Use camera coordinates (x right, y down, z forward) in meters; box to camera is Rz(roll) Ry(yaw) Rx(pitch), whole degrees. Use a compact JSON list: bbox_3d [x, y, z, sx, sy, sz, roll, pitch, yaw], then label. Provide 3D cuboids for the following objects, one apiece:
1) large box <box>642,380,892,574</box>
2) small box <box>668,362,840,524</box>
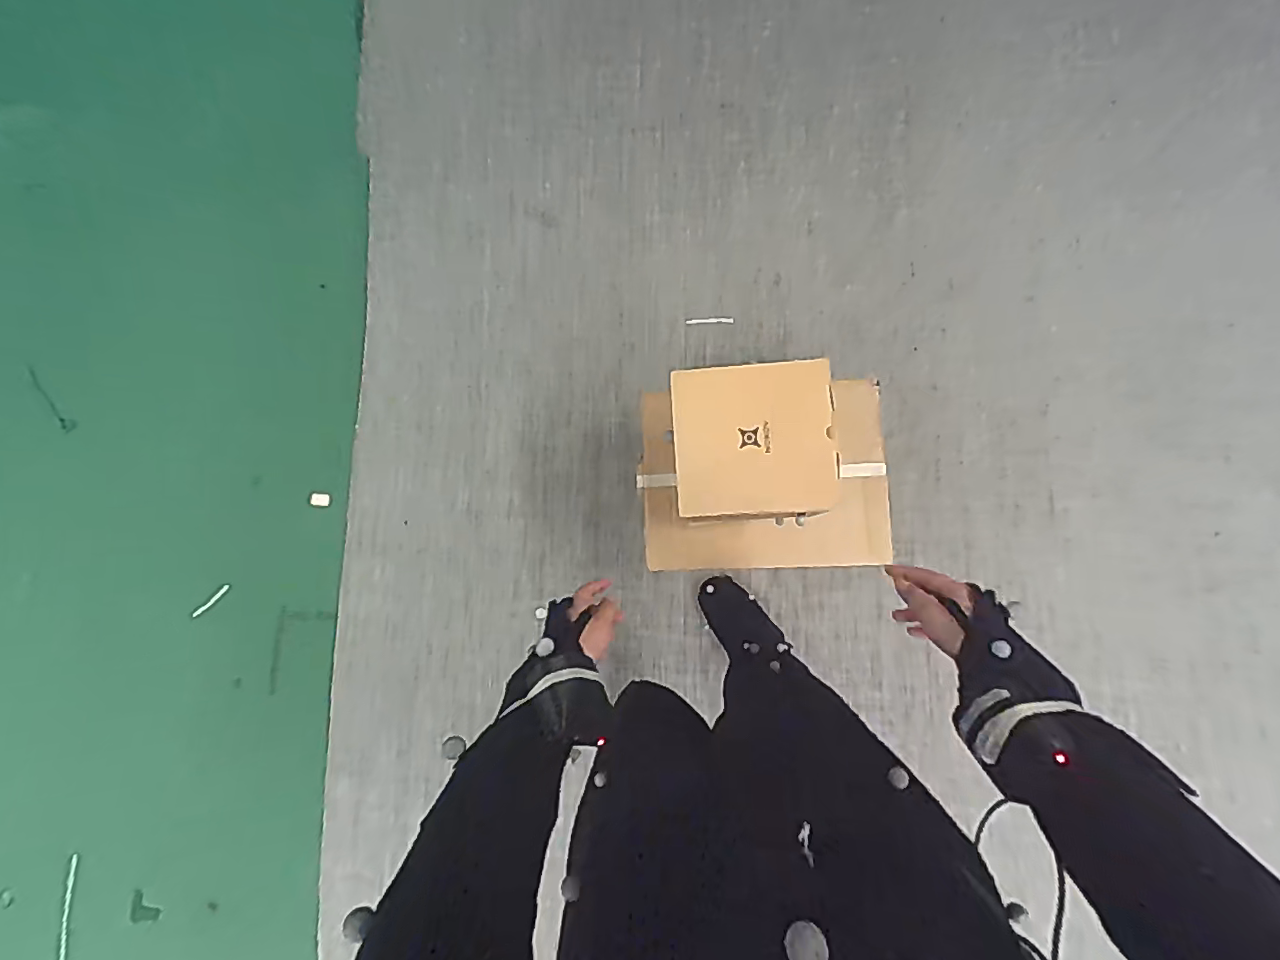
[{"bbox_3d":[0.222,0.010,1.062,0.408,0.320,0.320,-3,84,6],"label":"large box"},{"bbox_3d":[0.130,-0.034,0.666,0.179,0.176,0.168,-4,83,5],"label":"small box"}]
